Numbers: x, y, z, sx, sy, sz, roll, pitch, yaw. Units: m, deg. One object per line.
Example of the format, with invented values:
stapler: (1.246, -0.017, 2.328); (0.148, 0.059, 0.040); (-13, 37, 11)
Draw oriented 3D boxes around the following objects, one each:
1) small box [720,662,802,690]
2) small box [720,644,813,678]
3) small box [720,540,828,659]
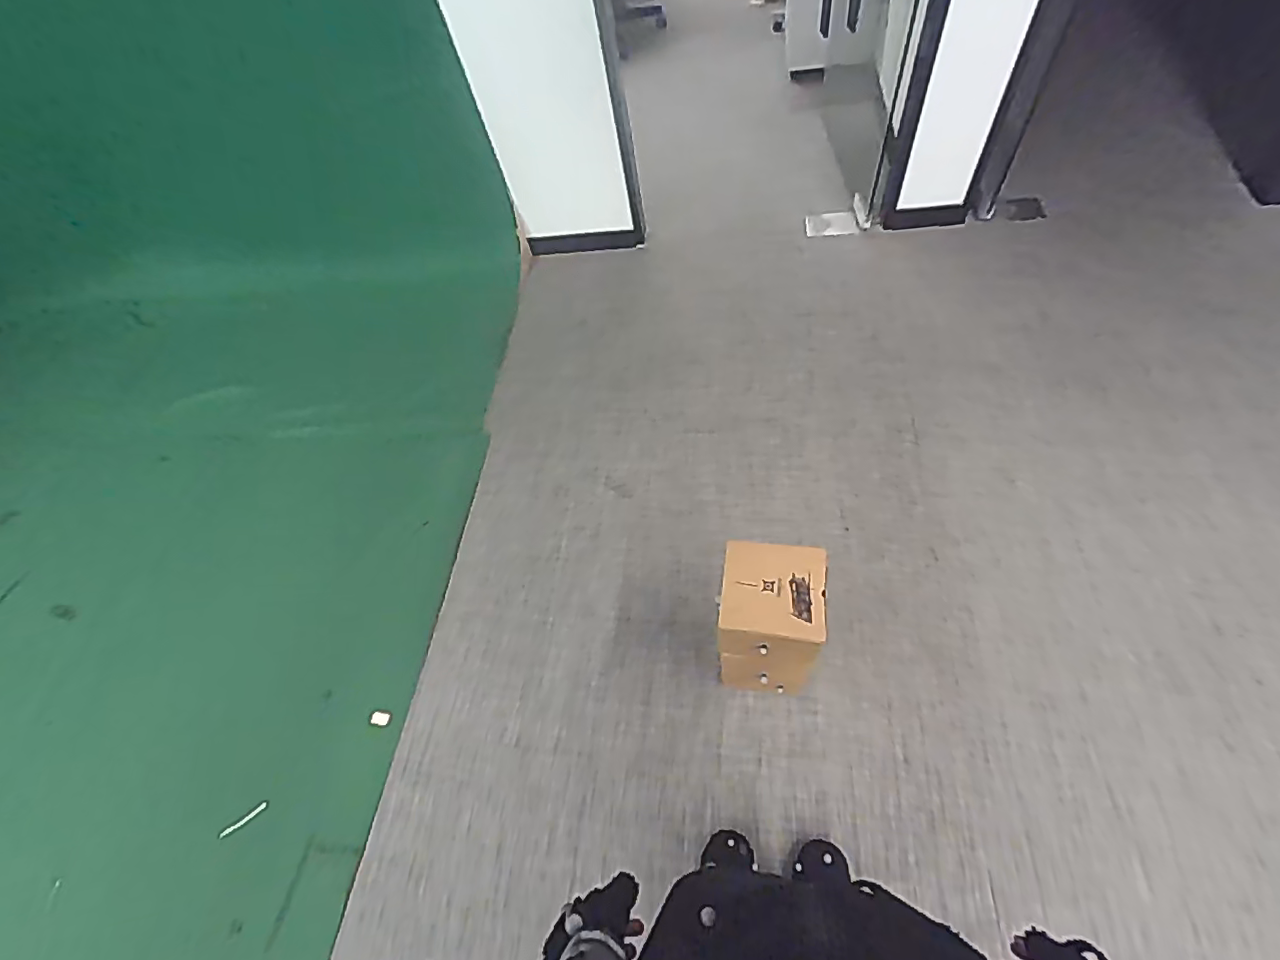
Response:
small box: (0.285, 0.392, 1.279); (0.179, 0.176, 0.168); (1, 59, 13)
small box: (0.263, 0.311, 1.139); (0.179, 0.176, 0.168); (4, 60, 12)
small box: (0.241, 0.225, 1.000); (0.179, 0.176, 0.168); (3, 60, 10)
